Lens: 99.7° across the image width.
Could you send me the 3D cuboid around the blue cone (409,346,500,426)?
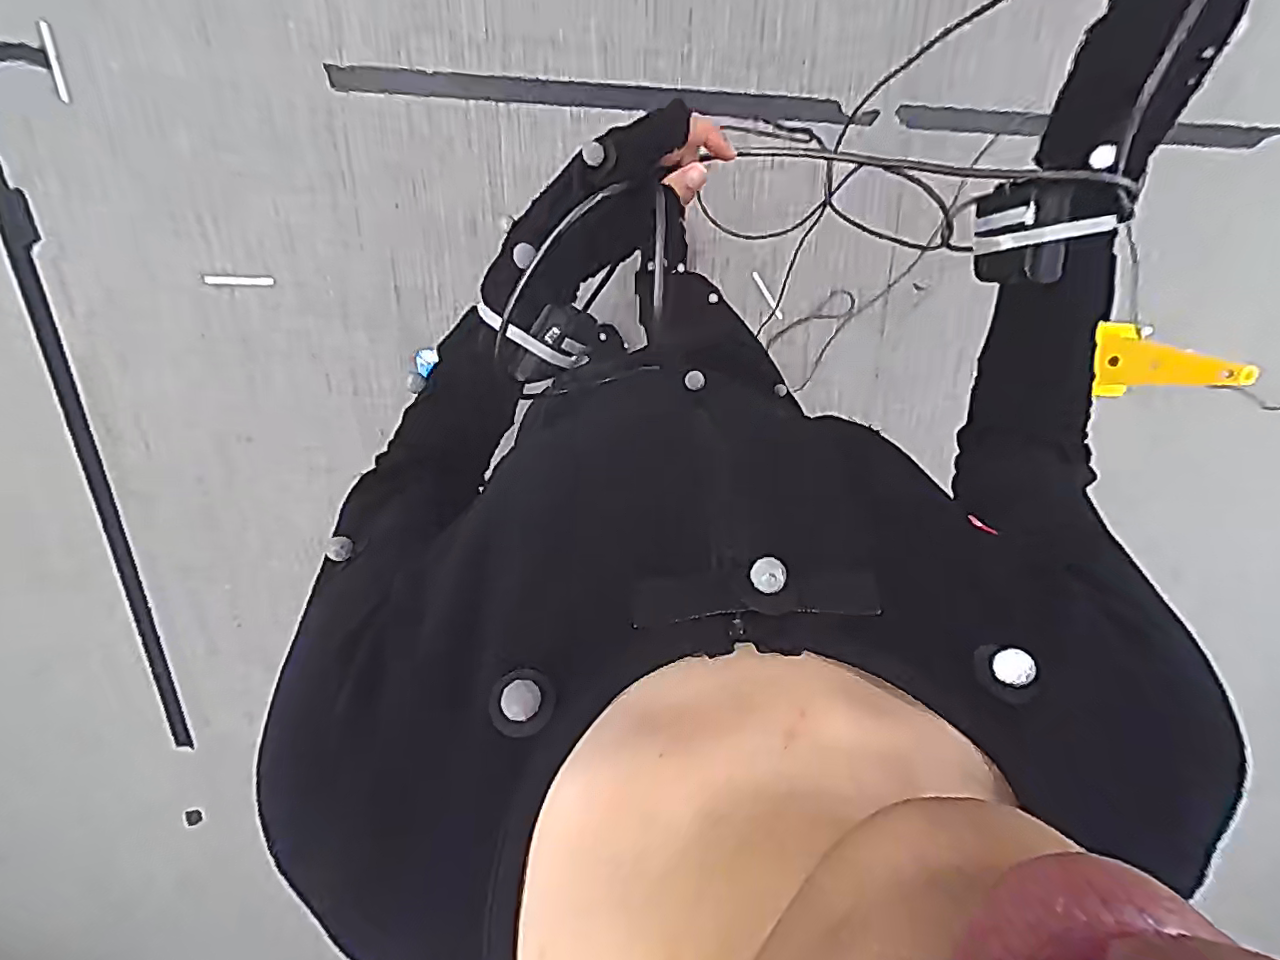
[{"bbox_3d":[-0.441,-0.184,1.211,0.193,0.380,0.192,-6,109,-3],"label":"blue cone"}]
